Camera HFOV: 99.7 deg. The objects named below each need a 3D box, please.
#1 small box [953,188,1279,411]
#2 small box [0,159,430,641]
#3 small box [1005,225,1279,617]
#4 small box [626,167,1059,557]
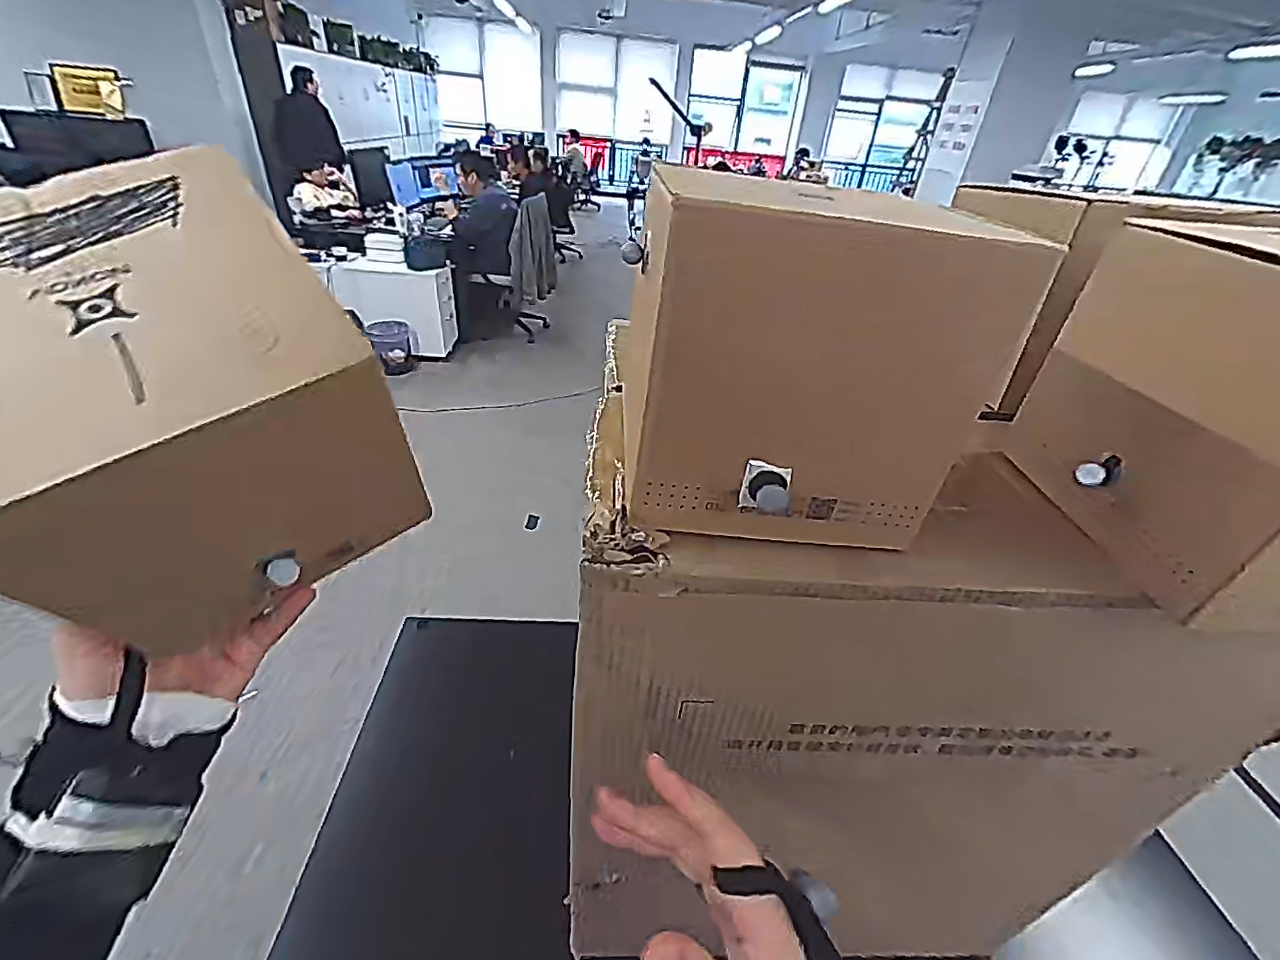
[{"bbox_3d":[0.388,-0.169,0.505,0.168,0.176,0.179,1,31,-4],"label":"small box"},{"bbox_3d":[-0.245,-0.038,0.307,0.168,0.176,0.179,-33,72,-26],"label":"small box"},{"bbox_3d":[0.364,-0.034,0.310,0.168,0.176,0.179,2,36,-4],"label":"small box"},{"bbox_3d":[0.081,-0.077,0.329,0.168,0.176,0.179,4,35,-5],"label":"small box"}]
